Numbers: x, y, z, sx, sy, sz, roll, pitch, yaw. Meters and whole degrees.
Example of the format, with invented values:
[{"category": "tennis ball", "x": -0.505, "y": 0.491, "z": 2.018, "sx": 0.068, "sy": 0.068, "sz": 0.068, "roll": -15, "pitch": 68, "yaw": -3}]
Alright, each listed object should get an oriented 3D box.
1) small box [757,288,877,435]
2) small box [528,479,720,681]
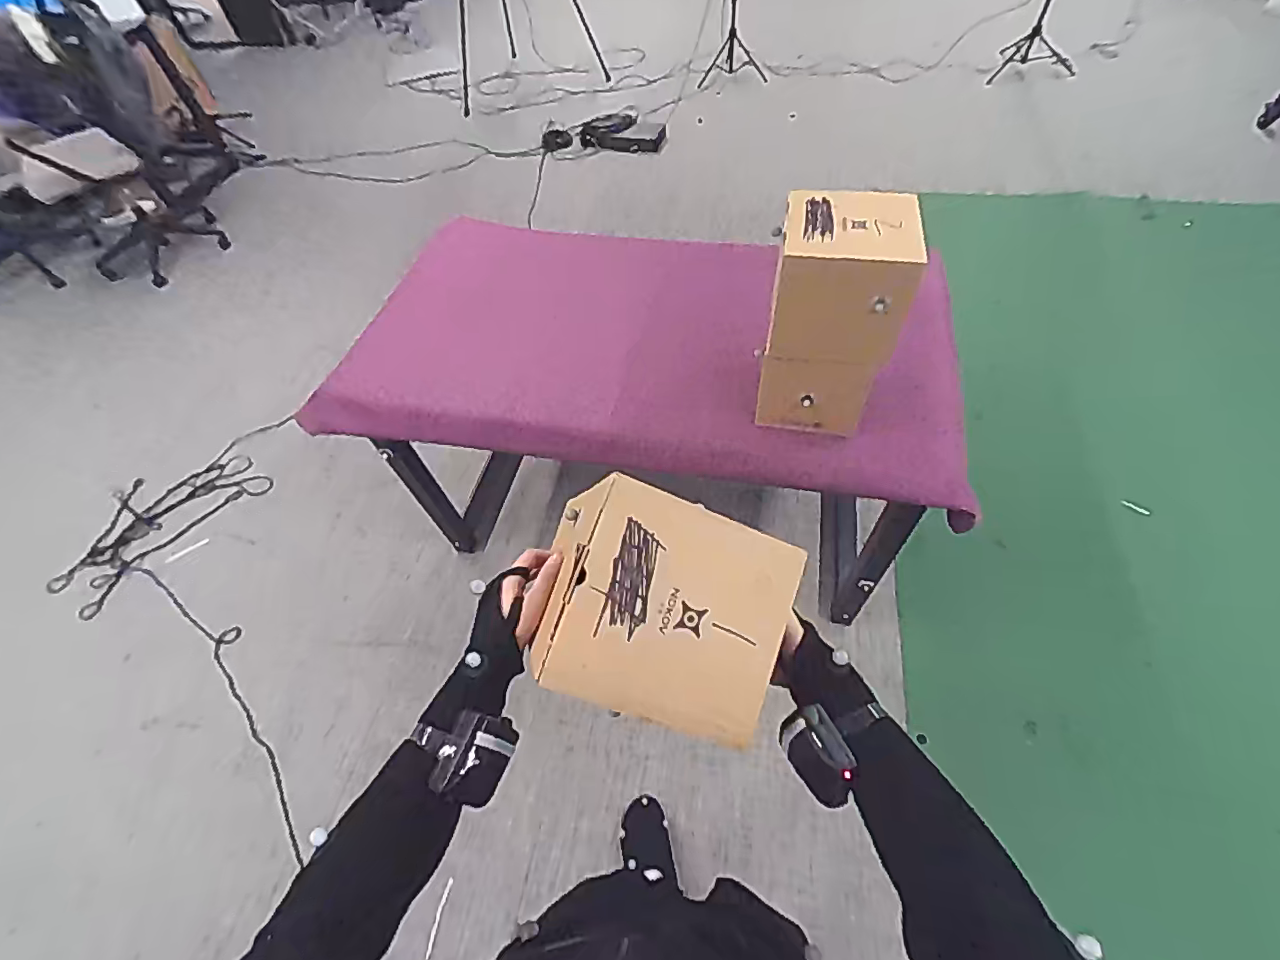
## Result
[{"category": "small box", "x": 0.295, "y": -0.198, "z": 0.920, "sx": 0.168, "sy": 0.176, "sz": 0.179, "roll": 9, "pitch": 55, "yaw": 12}, {"category": "small box", "x": -0.028, "y": 0.116, "z": 0.654, "sx": 0.168, "sy": 0.176, "sz": 0.179, "roll": 20, "pitch": 79, "yaw": -10}]
